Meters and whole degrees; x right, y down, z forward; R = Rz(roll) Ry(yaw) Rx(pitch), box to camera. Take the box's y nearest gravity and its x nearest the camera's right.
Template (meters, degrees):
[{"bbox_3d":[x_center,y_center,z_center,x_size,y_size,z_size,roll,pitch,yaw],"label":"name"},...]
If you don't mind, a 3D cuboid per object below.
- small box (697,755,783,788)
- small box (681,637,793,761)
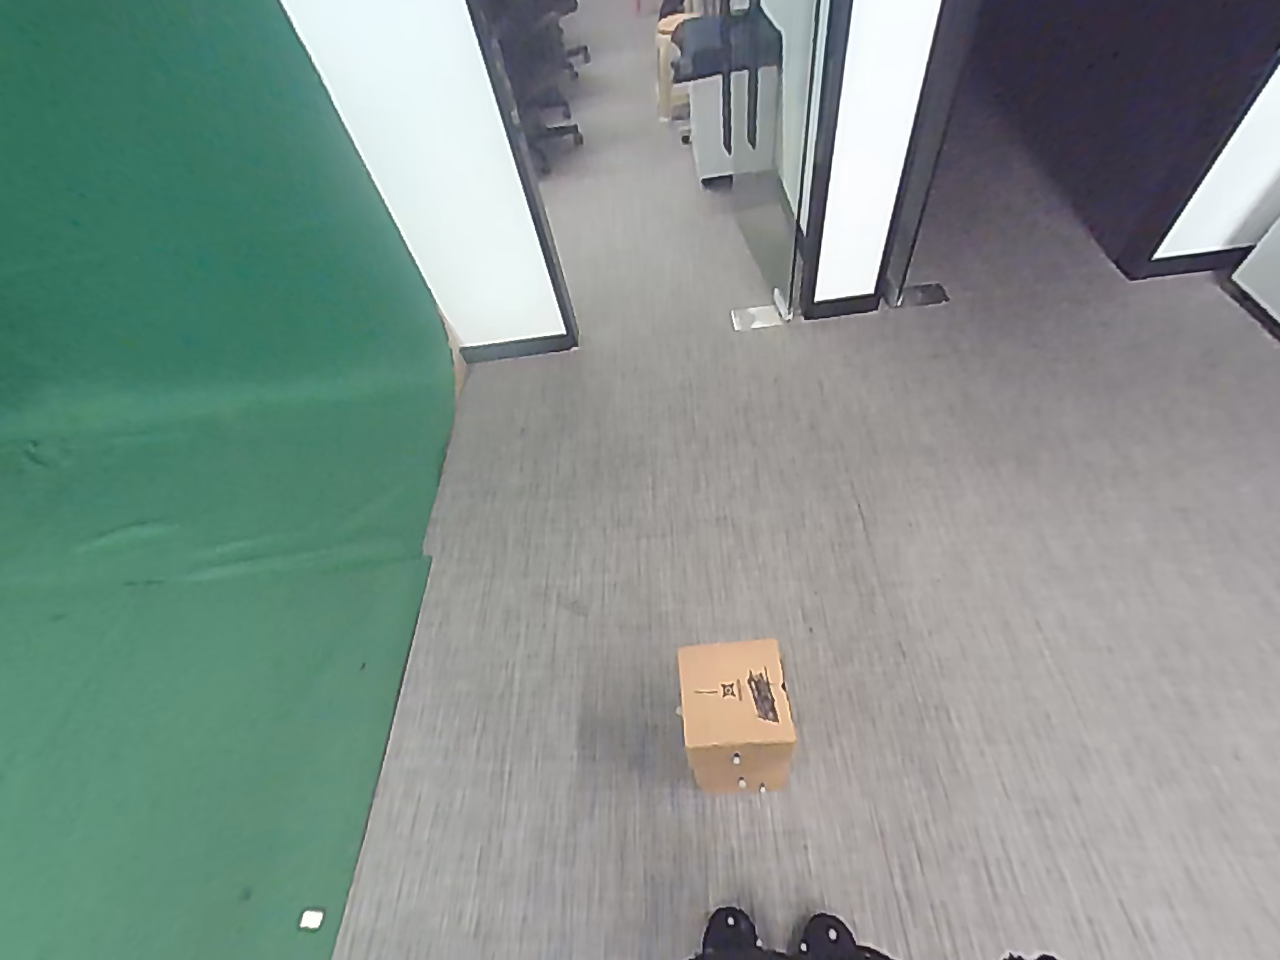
[{"bbox_3d":[0.218,0.588,1.219,0.179,0.176,0.168,-7,52,7],"label":"small box"},{"bbox_3d":[0.165,0.390,0.959,0.179,0.176,0.168,-4,51,8],"label":"small box"}]
